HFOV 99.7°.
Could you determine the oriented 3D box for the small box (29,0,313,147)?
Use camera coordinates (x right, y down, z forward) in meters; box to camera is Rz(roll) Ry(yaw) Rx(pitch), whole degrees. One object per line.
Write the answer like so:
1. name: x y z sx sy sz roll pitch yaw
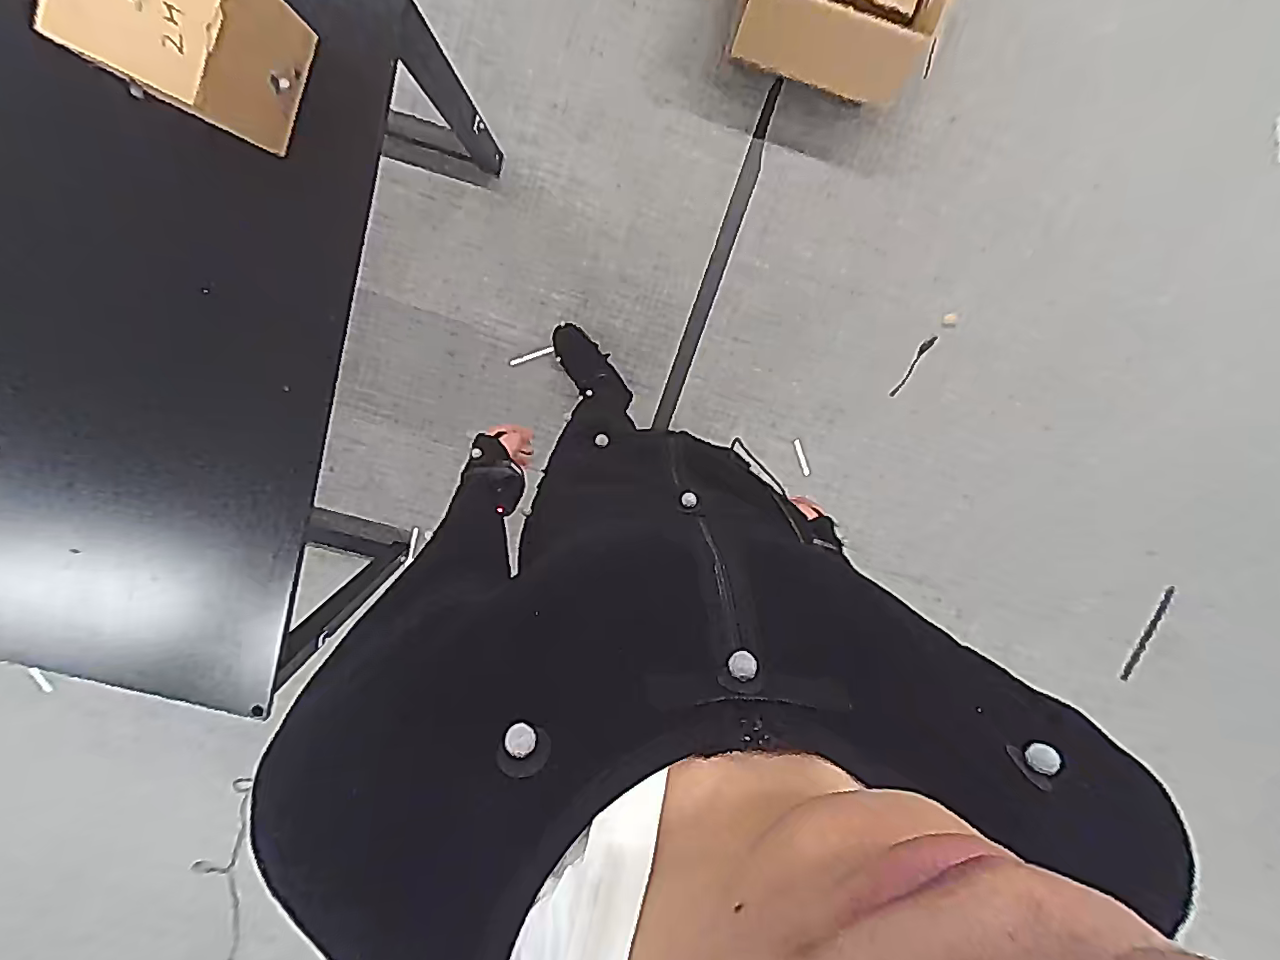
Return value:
1. small box: -0.543 -0.542 0.650 0.179 0.176 0.168 24 102 -8
